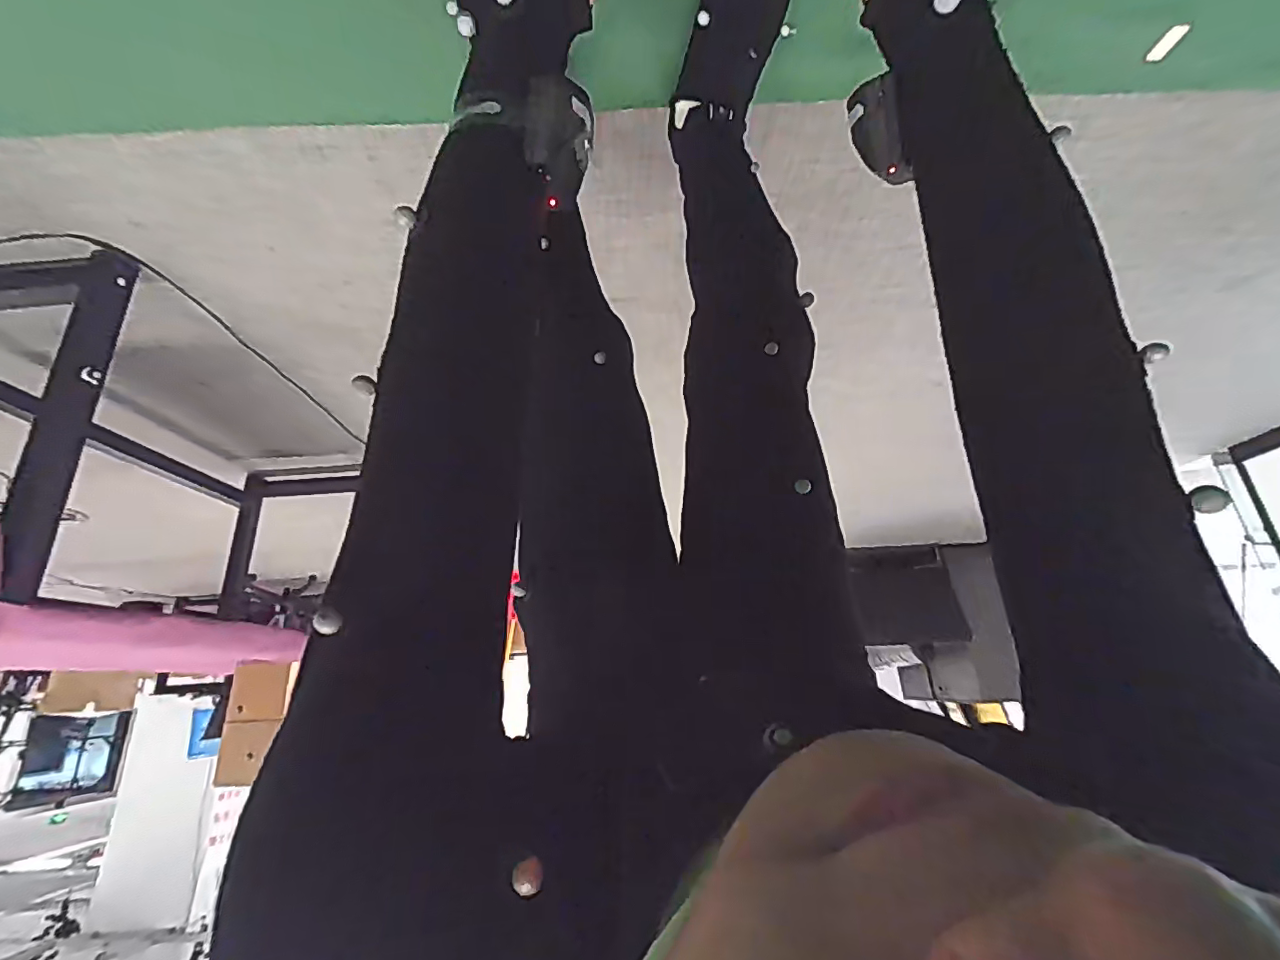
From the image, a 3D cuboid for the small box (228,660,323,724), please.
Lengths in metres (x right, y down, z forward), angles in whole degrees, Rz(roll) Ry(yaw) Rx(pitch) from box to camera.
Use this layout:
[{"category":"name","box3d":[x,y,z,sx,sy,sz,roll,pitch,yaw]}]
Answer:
[{"category":"small box","box3d":[-1.092,0.638,1.637,0.179,0.176,0.168,-3,159,2]}]

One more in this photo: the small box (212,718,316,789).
[{"category":"small box","box3d":[-1.087,0.791,1.578,0.179,0.176,0.168,-4,160,1]}]
